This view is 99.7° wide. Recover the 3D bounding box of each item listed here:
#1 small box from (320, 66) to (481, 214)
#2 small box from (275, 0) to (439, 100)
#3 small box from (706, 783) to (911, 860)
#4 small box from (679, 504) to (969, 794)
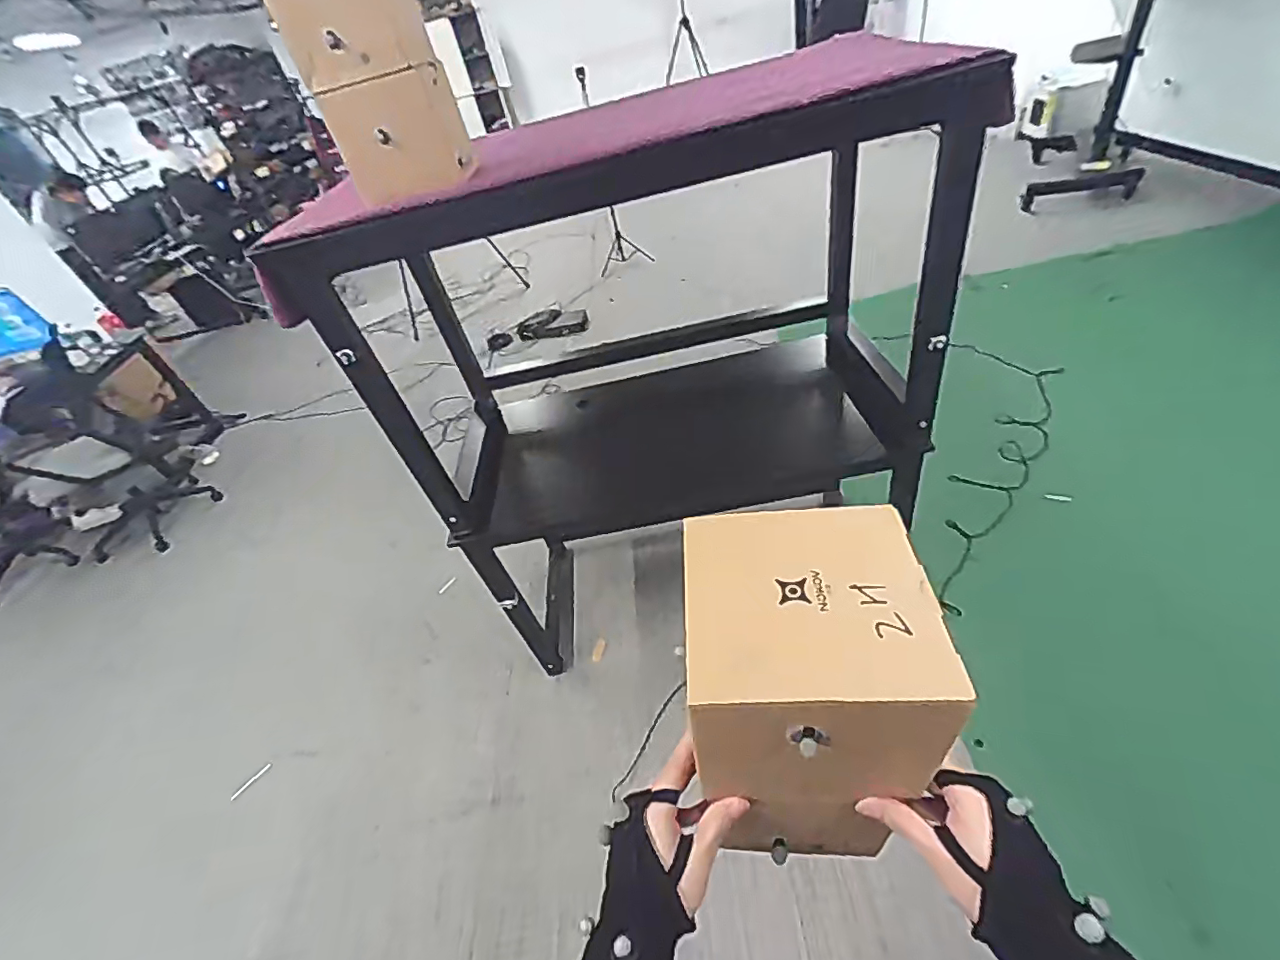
[{"bbox_3d":[-0.396,-0.586,0.935,0.179,0.176,0.168,-12,40,6],"label":"small box"},{"bbox_3d":[-0.435,-0.710,0.838,0.168,0.176,0.179,-11,41,6],"label":"small box"},{"bbox_3d":[0.150,0.258,0.553,0.168,0.176,0.179,-3,42,8],"label":"small box"},{"bbox_3d":[0.128,0.139,0.441,0.179,0.176,0.168,-4,42,7],"label":"small box"}]
